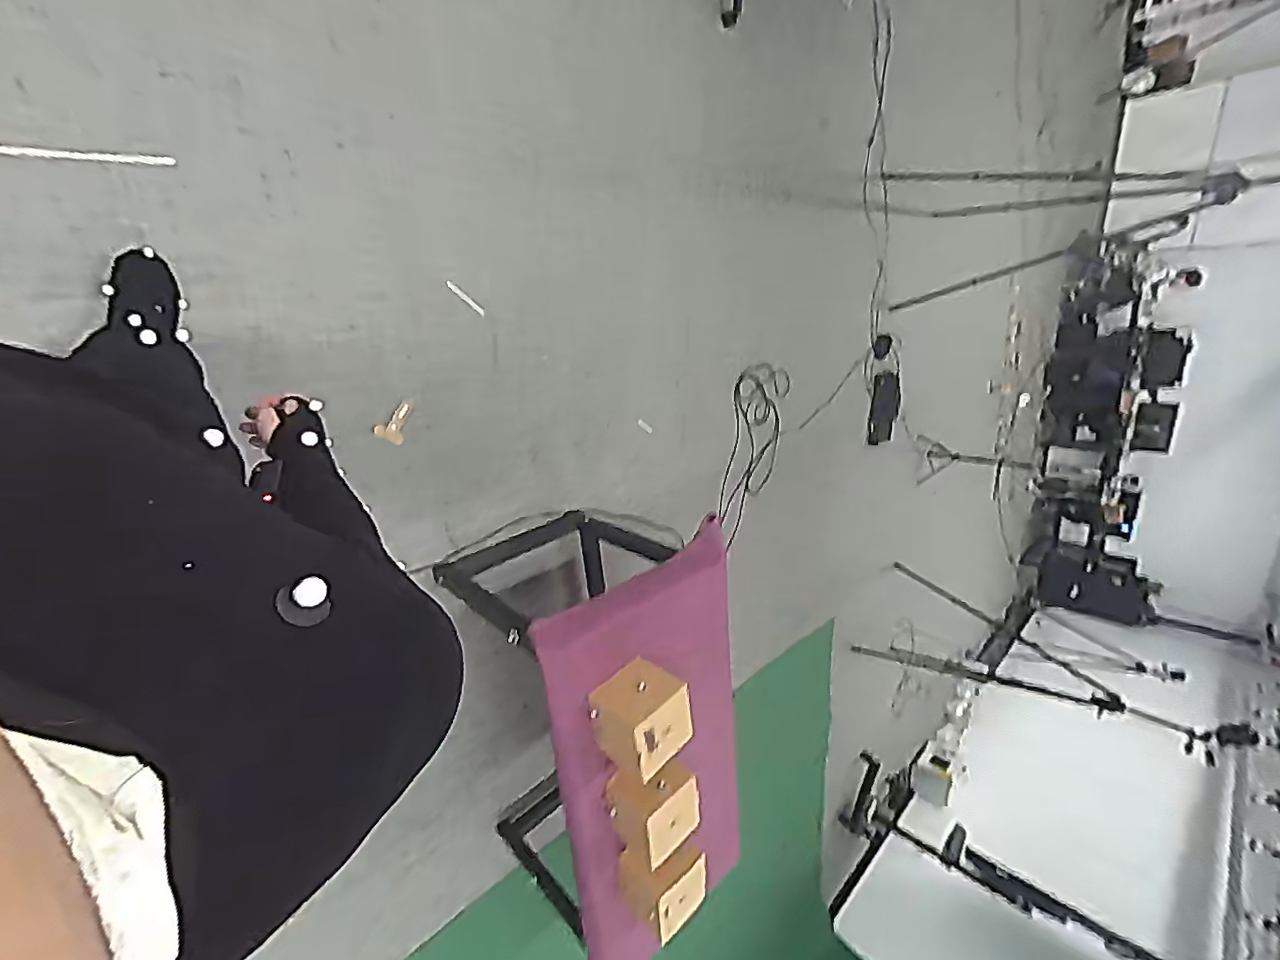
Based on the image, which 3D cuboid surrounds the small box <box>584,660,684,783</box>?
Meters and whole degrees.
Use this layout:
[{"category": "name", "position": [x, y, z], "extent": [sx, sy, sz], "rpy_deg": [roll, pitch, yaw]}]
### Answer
[{"category": "small box", "position": [-0.019, 0.571, 1.303], "extent": [0.179, 0.176, 0.168], "rpy_deg": [-25, 117, -39]}]

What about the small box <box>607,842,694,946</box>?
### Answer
[{"category": "small box", "position": [0.031, 1.100, 1.491], "extent": [0.179, 0.176, 0.168], "rpy_deg": [-18, 112, -40]}]

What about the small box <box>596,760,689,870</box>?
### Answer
[{"category": "small box", "position": [0.007, 0.838, 1.402], "extent": [0.179, 0.176, 0.168], "rpy_deg": [-20, 113, -38]}]
